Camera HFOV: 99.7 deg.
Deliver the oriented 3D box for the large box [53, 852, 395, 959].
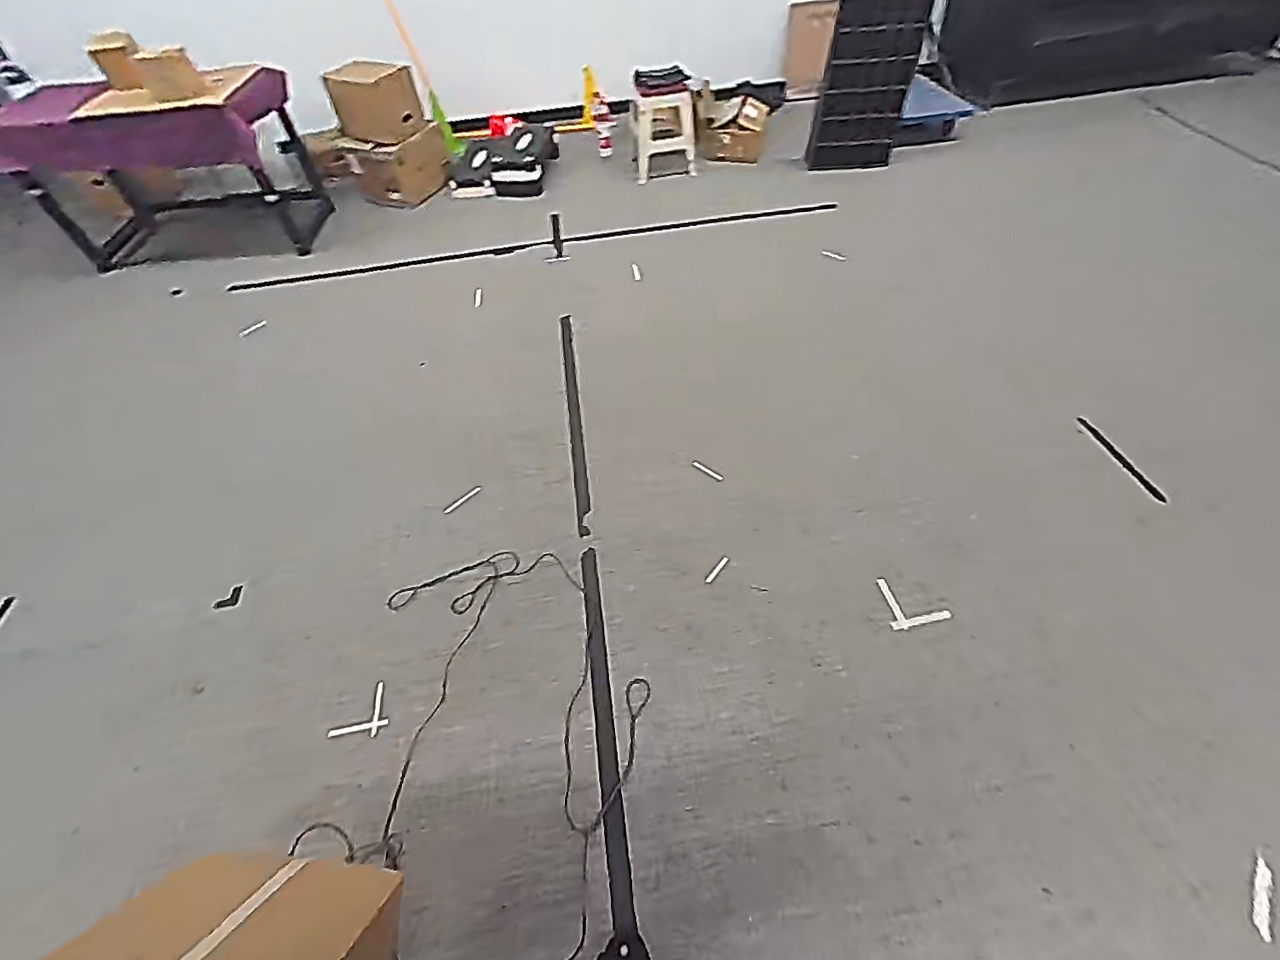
[{"bbox_3d":[-0.538,0.715,0.622,0.320,0.408,0.320,5,83,0],"label":"large box"}]
